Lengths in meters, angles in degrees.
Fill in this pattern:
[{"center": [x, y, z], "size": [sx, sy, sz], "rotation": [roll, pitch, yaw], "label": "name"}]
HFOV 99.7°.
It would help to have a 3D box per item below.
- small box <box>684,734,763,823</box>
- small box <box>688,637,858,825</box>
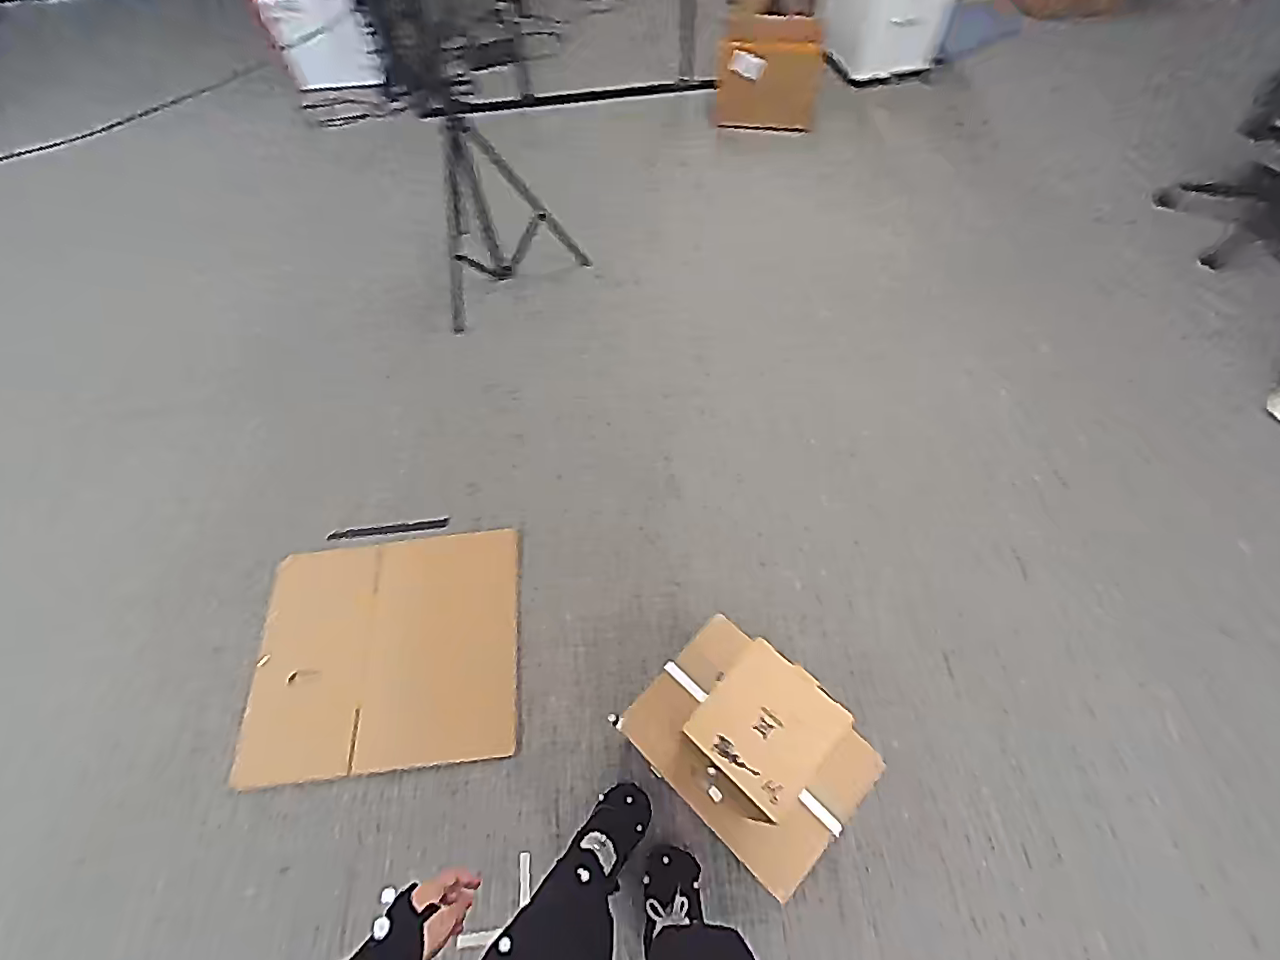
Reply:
[{"center": [0.188, 0.455, 0.938], "size": [0.168, 0.176, 0.179], "rotation": [39, 69, 23], "label": "small box"}, {"center": [0.182, 0.369, 0.797], "size": [0.168, 0.176, 0.179], "rotation": [39, 68, 23], "label": "small box"}]
